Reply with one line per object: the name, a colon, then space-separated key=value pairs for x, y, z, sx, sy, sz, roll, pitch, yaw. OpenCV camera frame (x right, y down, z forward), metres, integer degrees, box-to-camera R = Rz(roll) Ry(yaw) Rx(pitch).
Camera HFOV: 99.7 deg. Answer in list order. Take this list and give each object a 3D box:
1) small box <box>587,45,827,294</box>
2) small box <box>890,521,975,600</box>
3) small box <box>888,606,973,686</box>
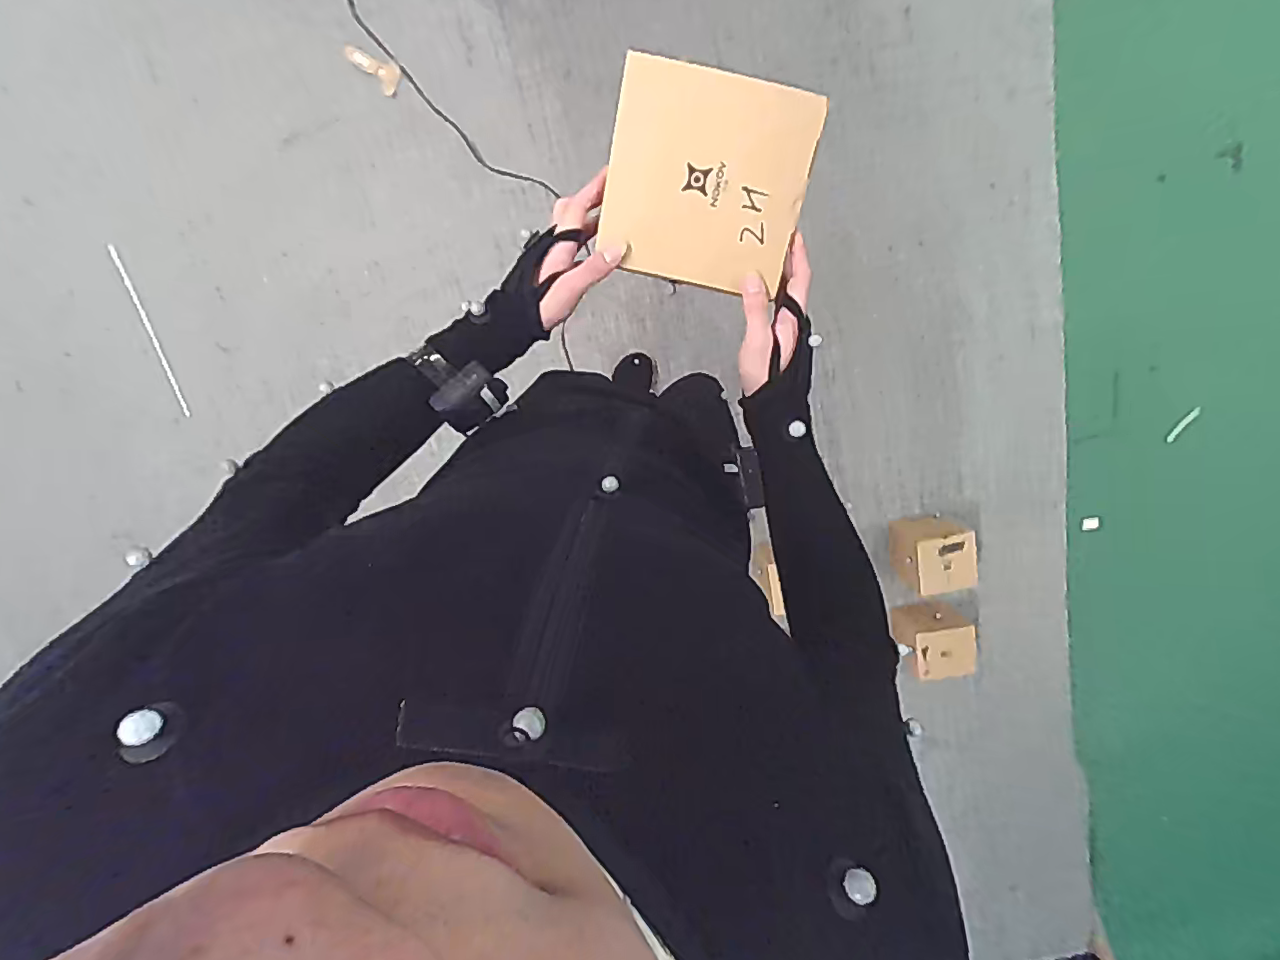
small box: x=0.056 y=-0.287 z=0.541 sx=0.179 sy=0.176 sz=0.168 roll=12 pitch=110 yaw=-2
small box: x=0.863 y=0.230 z=1.608 sx=0.168 sy=0.176 sz=0.179 roll=-11 pitch=105 yaw=3
small box: x=0.899 y=0.509 z=1.681 sx=0.179 sy=0.176 sz=0.168 roll=-9 pitch=104 yaw=1
